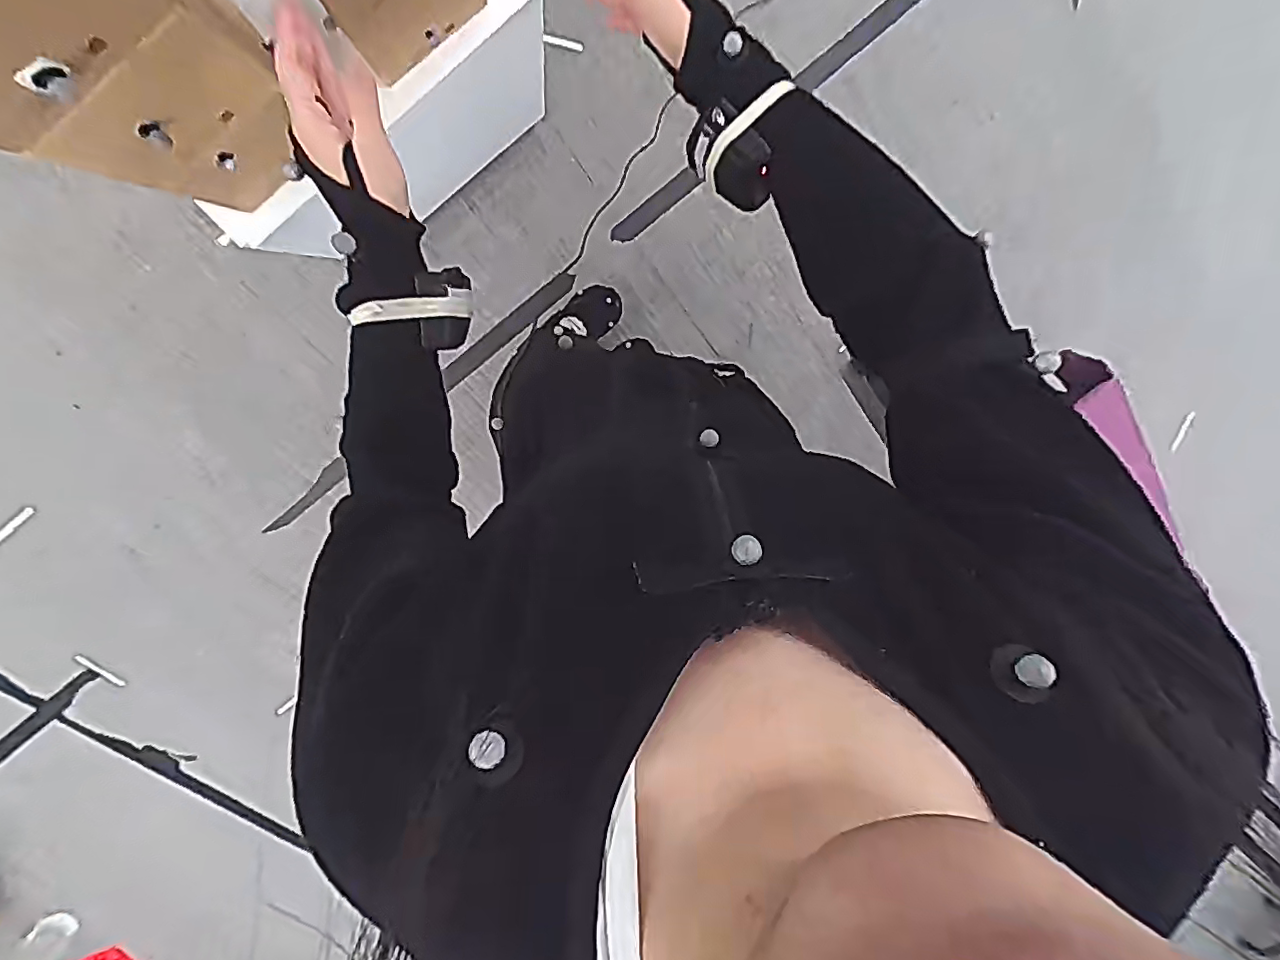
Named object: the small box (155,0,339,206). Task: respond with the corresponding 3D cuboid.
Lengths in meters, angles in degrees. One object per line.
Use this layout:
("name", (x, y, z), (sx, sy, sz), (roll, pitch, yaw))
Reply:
("small box", (-0.478, -0.432, 0.588), (0.168, 0.176, 0.179), (-38, 110, 5))

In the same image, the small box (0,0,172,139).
("small box", (-0.425, -0.325, 0.285), (0.168, 0.176, 0.179), (-39, 112, 6))

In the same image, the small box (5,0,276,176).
("small box", (-0.450, -0.377, 0.436), (0.168, 0.176, 0.179), (-39, 111, 6))
